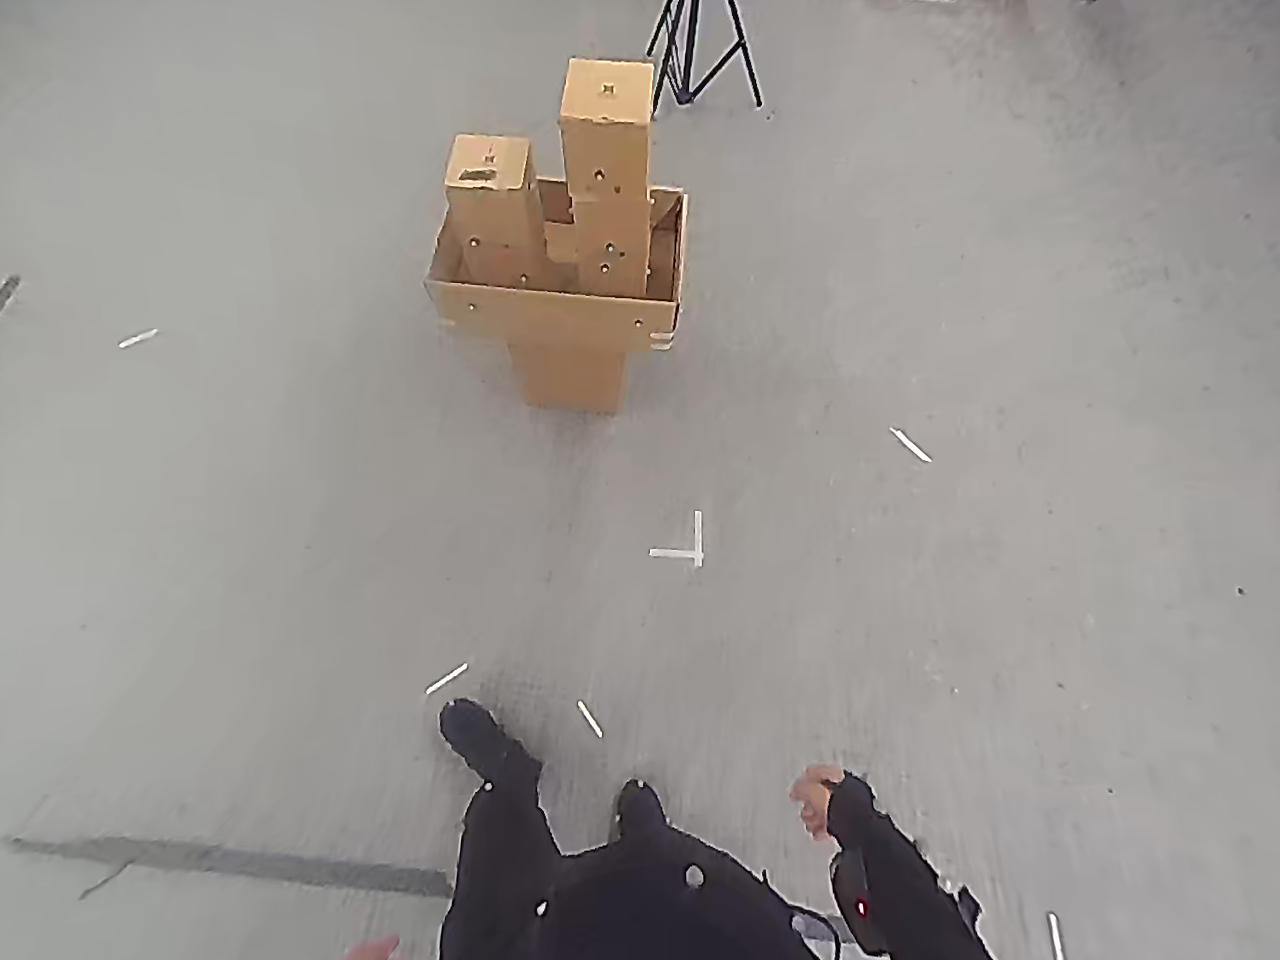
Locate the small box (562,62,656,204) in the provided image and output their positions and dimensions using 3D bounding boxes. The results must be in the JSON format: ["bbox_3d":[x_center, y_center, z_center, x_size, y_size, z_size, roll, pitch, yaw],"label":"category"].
[{"bbox_3d":[-0.058,-0.693,1.087,0.168,0.176,0.179,4,68,0],"label":"small box"}]

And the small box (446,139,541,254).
[{"bbox_3d":[-0.325,-0.643,1.237,0.168,0.176,0.179,2,65,-1],"label":"small box"}]
